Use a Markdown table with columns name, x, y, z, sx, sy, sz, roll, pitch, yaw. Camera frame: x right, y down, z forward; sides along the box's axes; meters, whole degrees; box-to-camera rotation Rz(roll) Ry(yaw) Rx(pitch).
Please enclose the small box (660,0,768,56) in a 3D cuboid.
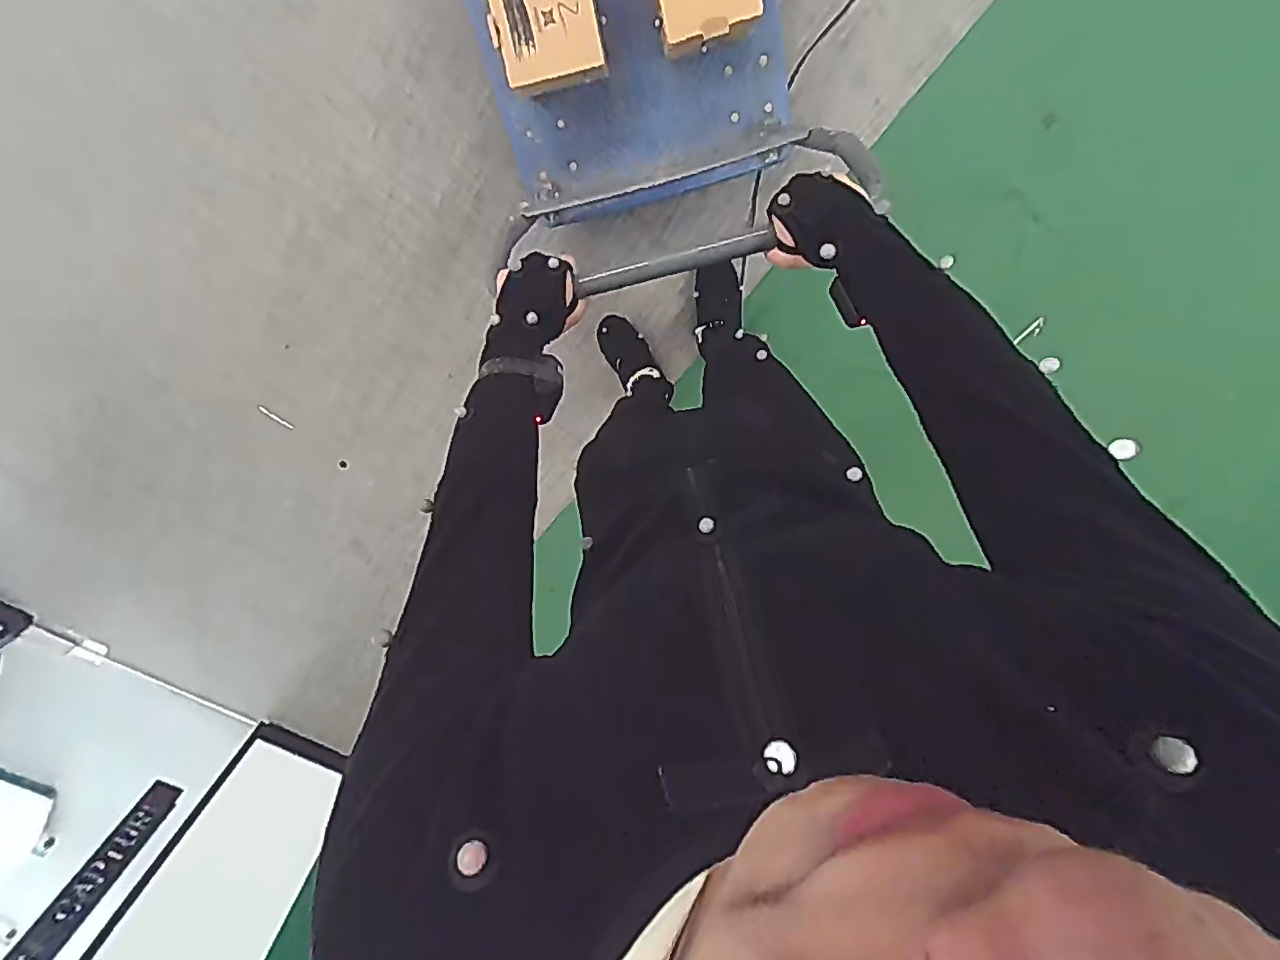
| name | x | y | z | sx | sy | sz | roll | pitch | yaw |
| --- | --- | --- | --- | --- | --- | --- | --- | --- | --- |
| small box | 0.115 | -0.873 | 0.936 | 0.168 | 0.176 | 0.179 | -12 | 121 | 9 |
